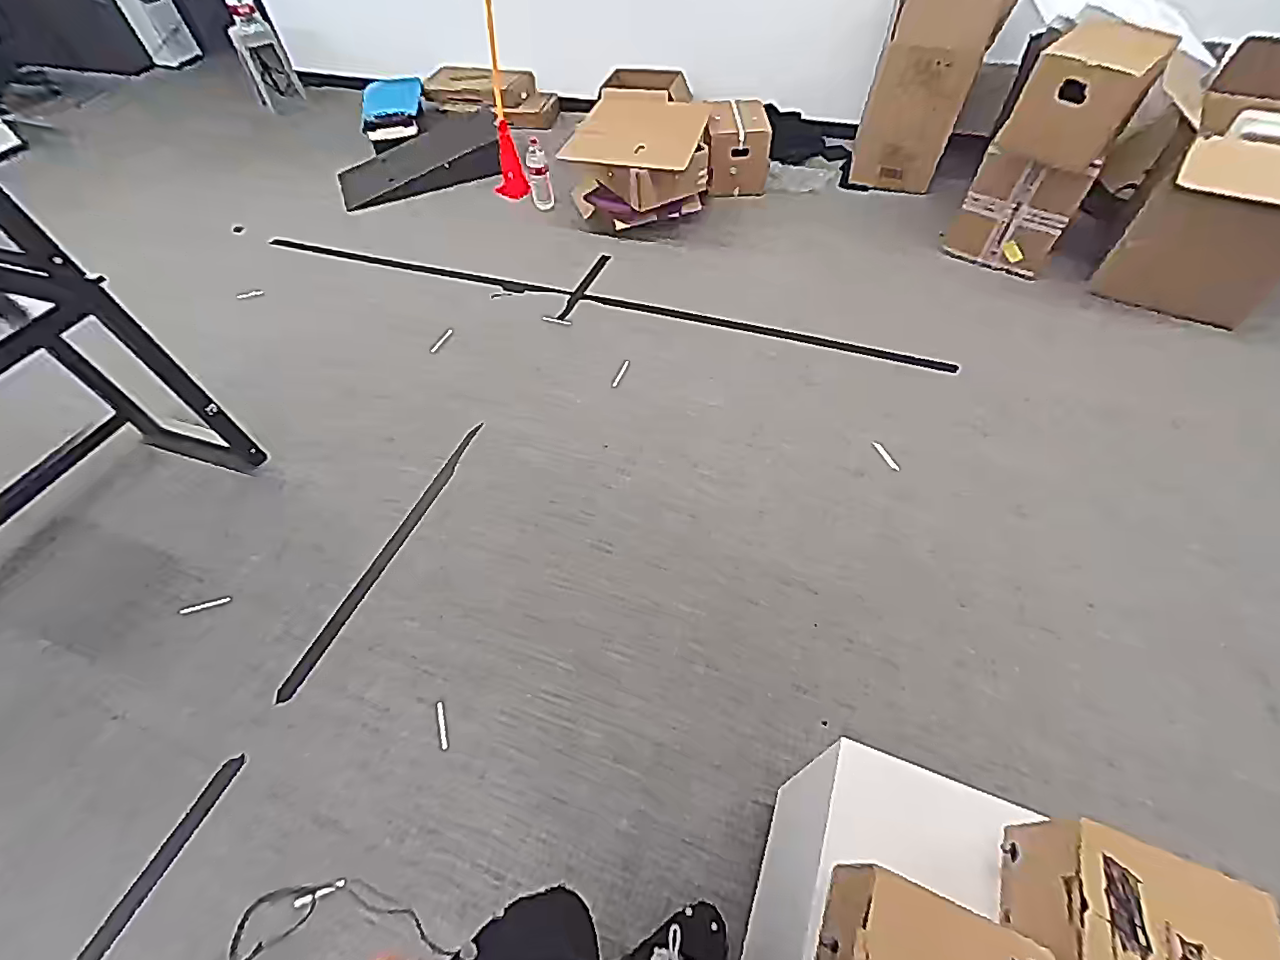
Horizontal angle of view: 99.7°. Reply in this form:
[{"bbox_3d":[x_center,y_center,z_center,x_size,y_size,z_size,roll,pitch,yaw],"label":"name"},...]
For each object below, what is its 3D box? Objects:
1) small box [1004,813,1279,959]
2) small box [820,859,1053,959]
[{"bbox_3d":[0.528,0.499,0.592,0.179,0.176,0.168,18,57,15],"label":"small box"},{"bbox_3d":[0.296,0.540,0.574,0.179,0.176,0.168,19,57,16],"label":"small box"}]
